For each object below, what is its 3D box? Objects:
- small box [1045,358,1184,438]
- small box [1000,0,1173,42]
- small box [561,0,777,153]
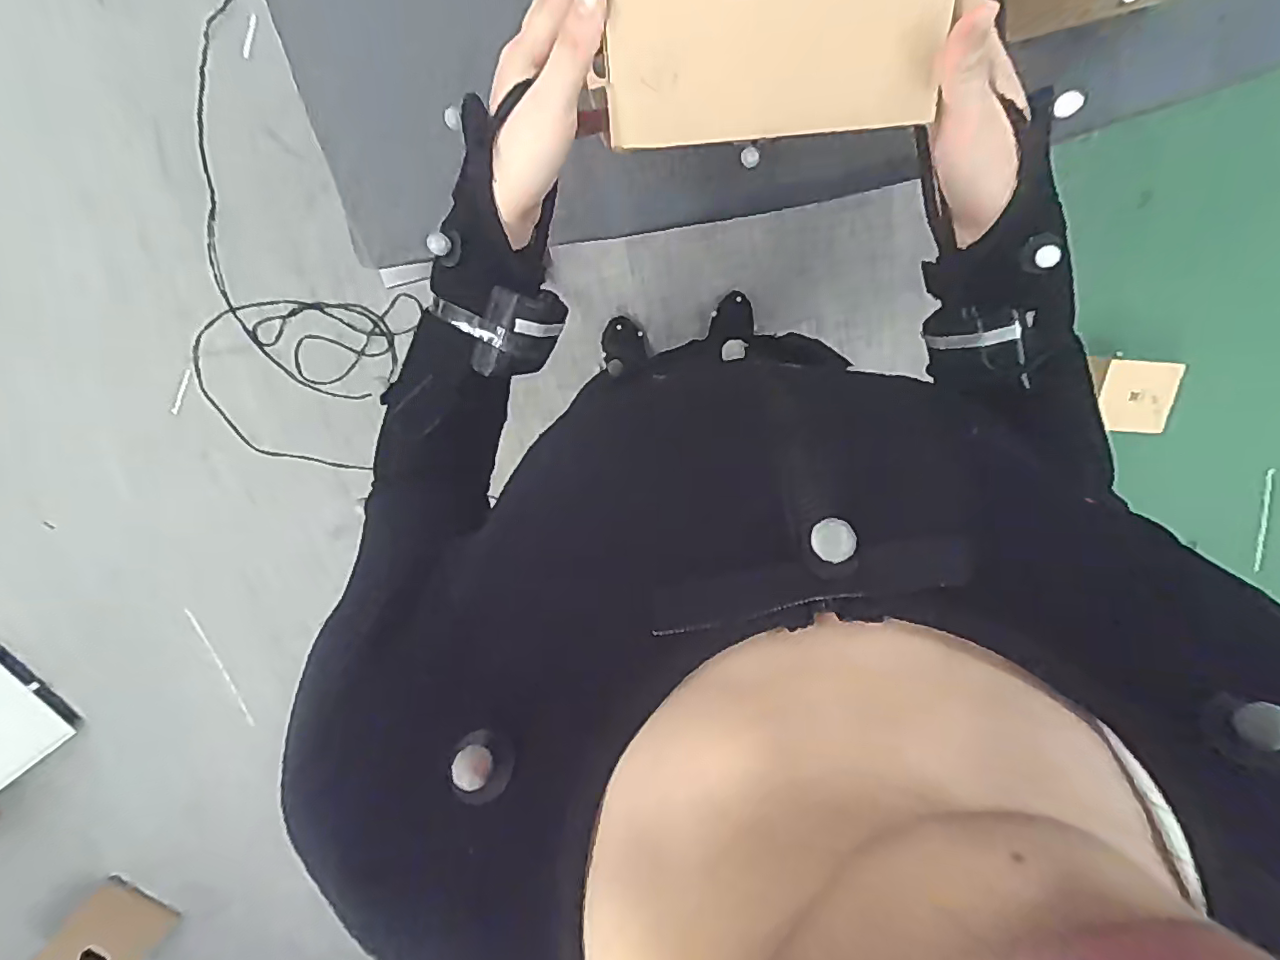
[{"bbox_3d":[1.155,-0.207,1.334,0.179,0.176,0.168,4,108,0],"label":"small box"},{"bbox_3d":[0.453,-0.538,0.485,0.168,0.176,0.179,-12,106,5],"label":"small box"},{"bbox_3d":[0.019,-0.446,0.524,0.179,0.176,0.168,-11,106,6],"label":"small box"}]
